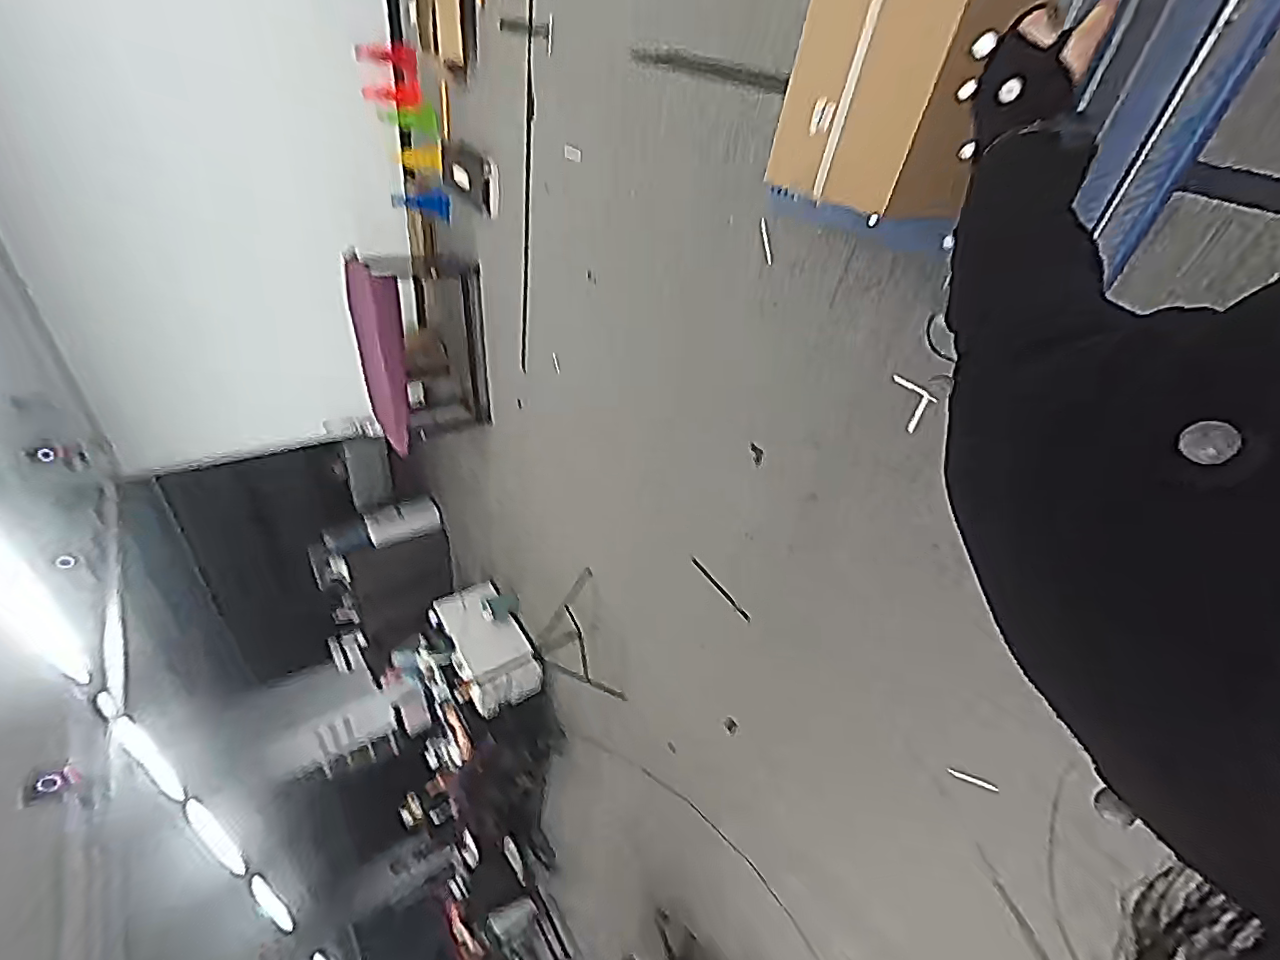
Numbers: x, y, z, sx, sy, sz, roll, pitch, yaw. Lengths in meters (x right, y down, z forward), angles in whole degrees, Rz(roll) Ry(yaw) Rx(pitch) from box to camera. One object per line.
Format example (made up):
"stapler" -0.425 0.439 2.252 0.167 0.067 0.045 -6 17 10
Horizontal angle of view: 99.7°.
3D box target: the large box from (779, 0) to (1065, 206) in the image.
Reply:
"large box" 0.537 -0.793 1.056 0.320 0.320 0.408 45 139 36
